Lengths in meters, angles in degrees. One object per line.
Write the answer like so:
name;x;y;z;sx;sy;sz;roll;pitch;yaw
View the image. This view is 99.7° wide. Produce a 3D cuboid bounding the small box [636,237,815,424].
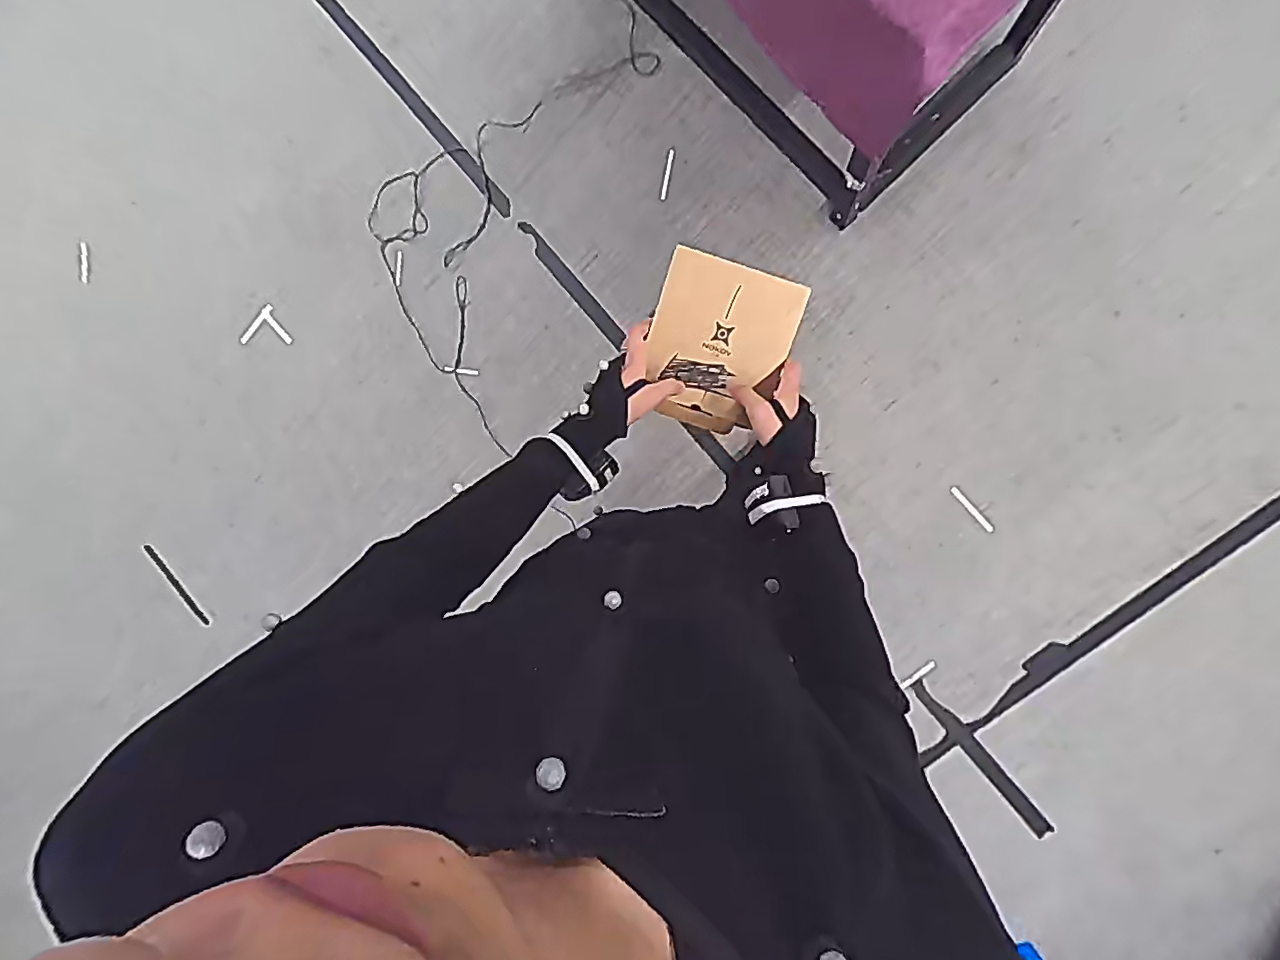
small box;0.104;-0.190;0.710;0.168;0.176;0.179;18;104;0
